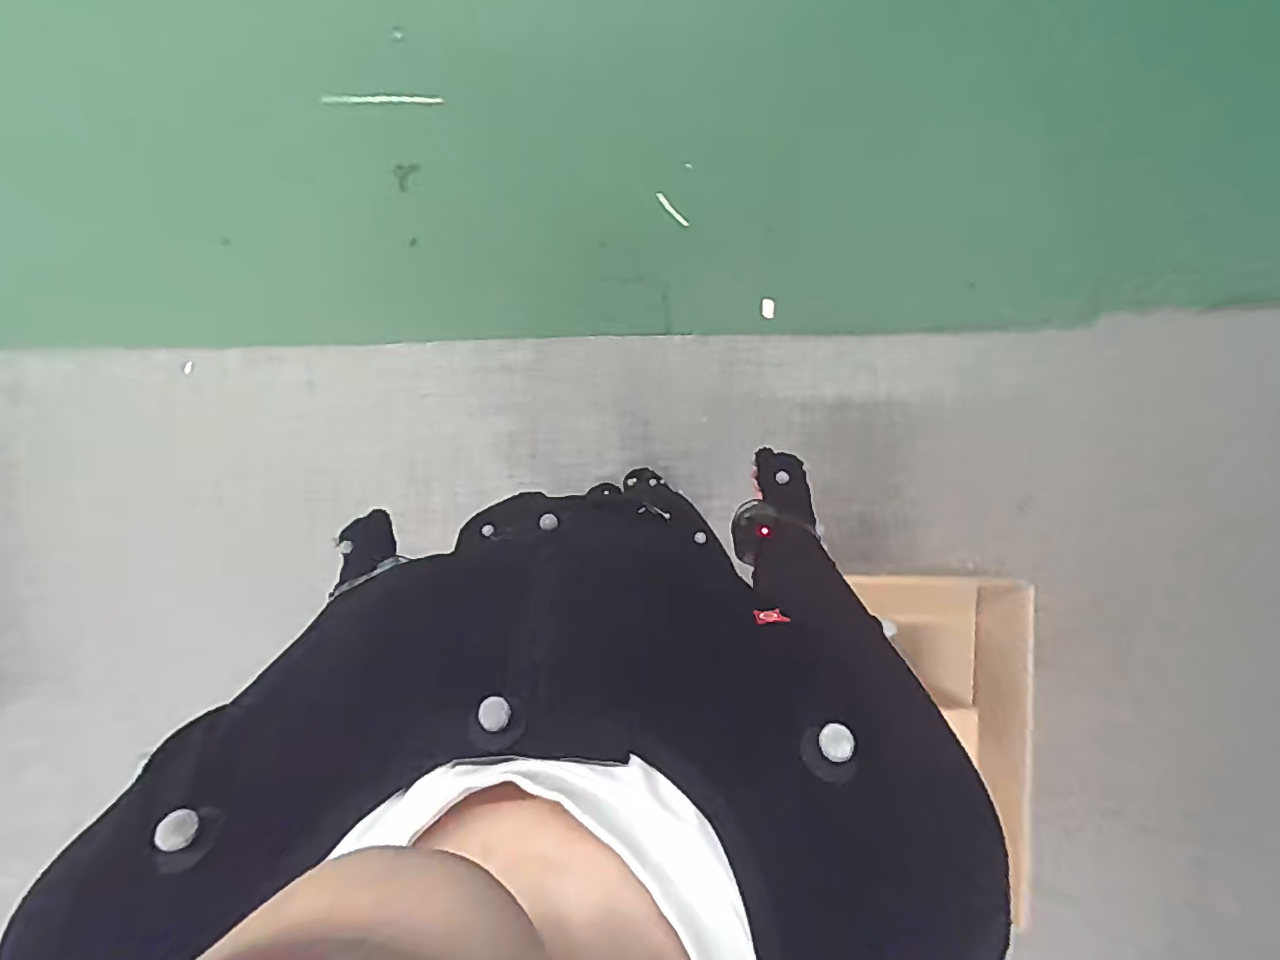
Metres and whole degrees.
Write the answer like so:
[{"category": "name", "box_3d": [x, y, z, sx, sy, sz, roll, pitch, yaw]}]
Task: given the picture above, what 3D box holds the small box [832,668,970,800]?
[{"category": "small box", "box_3d": [0.465, 0.454, 0.988, 0.179, 0.176, 0.168, 1, 92, -4]}]
